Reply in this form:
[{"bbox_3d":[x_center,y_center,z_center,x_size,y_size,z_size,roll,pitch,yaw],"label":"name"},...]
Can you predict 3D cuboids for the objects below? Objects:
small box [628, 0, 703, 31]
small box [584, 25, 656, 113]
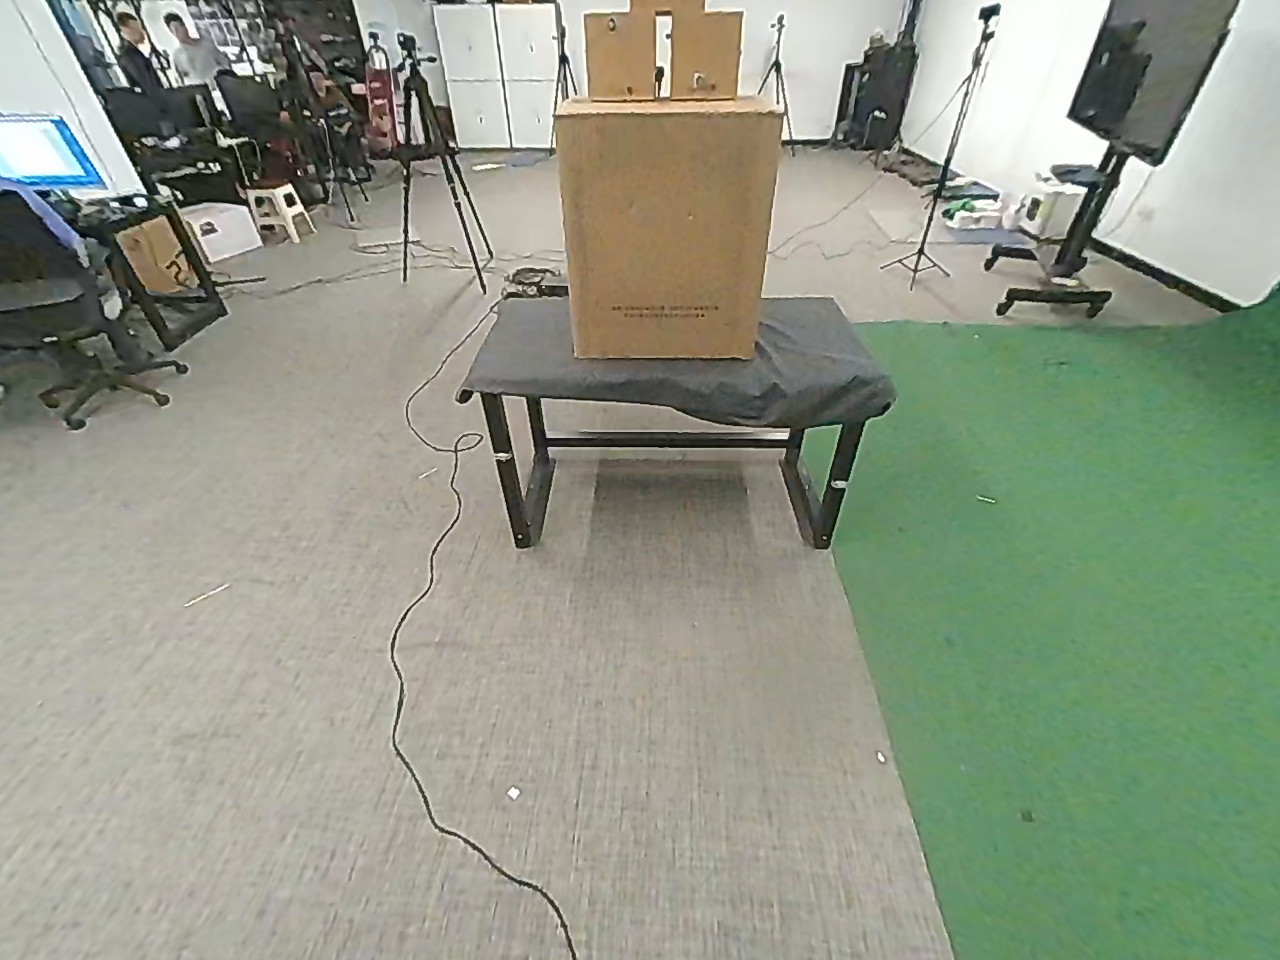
[{"bbox_3d":[0.061,-1.169,1.273,0.179,0.176,0.168,0,37,1],"label":"small box"},{"bbox_3d":[-0.044,-1.032,1.364,0.168,0.176,0.179,0,37,3],"label":"small box"}]
